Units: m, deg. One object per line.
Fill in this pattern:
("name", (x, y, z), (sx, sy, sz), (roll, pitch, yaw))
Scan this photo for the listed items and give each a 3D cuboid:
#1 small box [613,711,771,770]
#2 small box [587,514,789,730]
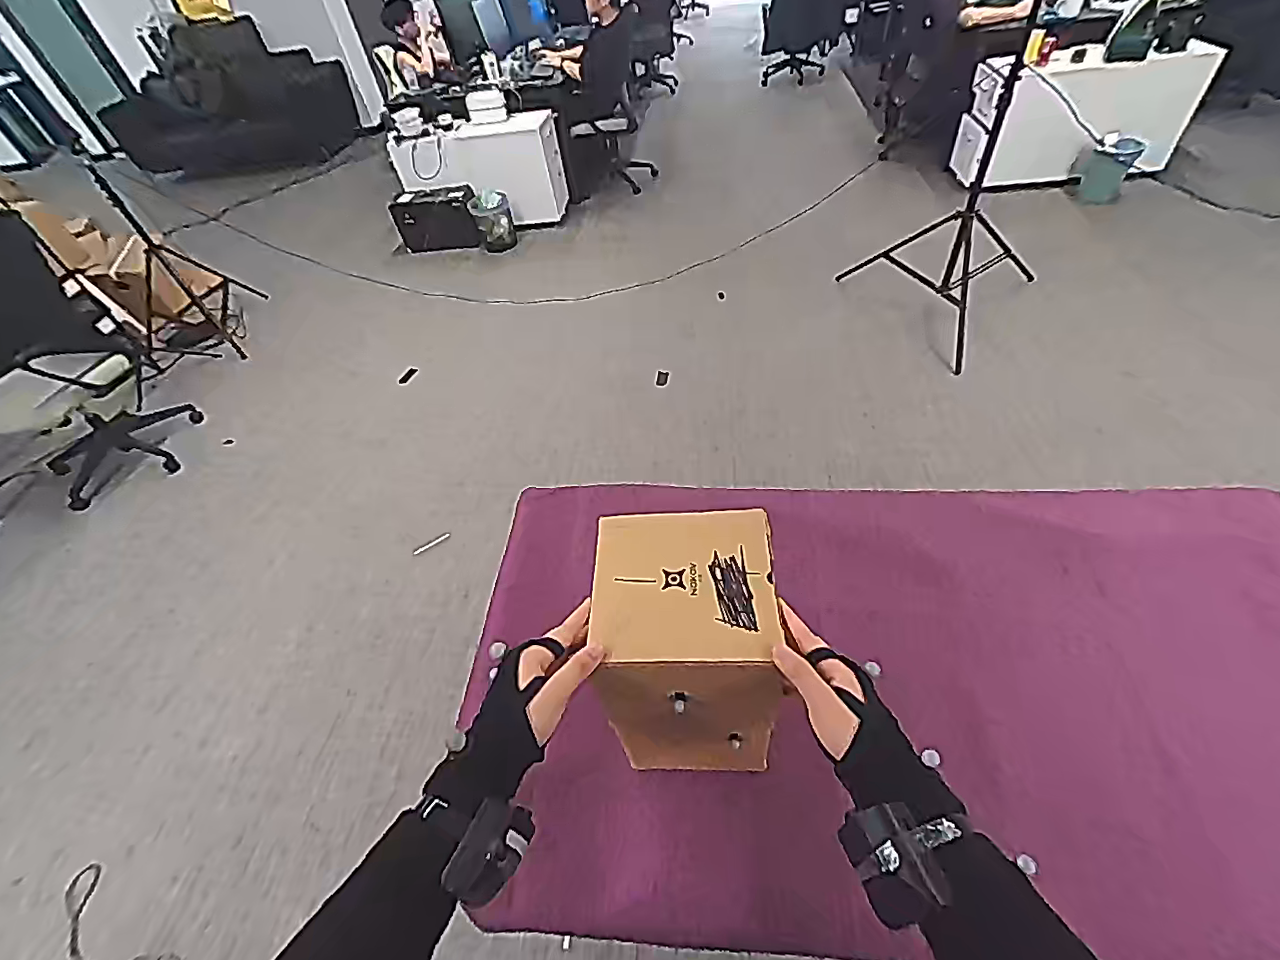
("small box", (0.068, 0.261, 0.696), (0.179, 0.176, 0.168), (-3, 47, 6))
("small box", (0.051, 0.153, 0.574), (0.179, 0.176, 0.168), (-3, 47, 6))
